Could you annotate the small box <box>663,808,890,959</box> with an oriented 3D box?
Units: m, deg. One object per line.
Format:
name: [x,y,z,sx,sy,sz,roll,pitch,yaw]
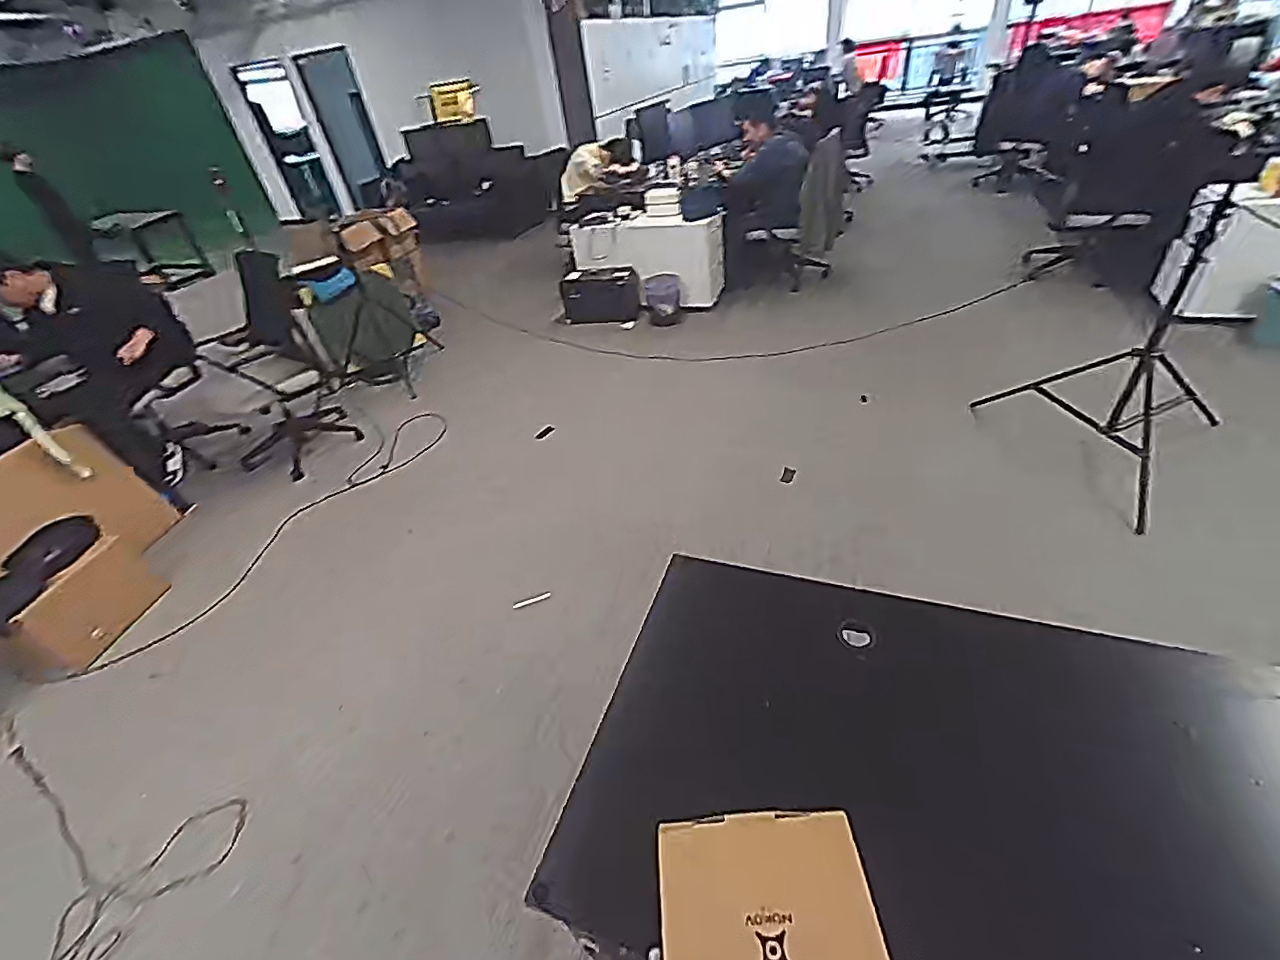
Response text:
small box: [0.110,0.410,0.456,0.168,0.176,0.179,-7,38,3]
